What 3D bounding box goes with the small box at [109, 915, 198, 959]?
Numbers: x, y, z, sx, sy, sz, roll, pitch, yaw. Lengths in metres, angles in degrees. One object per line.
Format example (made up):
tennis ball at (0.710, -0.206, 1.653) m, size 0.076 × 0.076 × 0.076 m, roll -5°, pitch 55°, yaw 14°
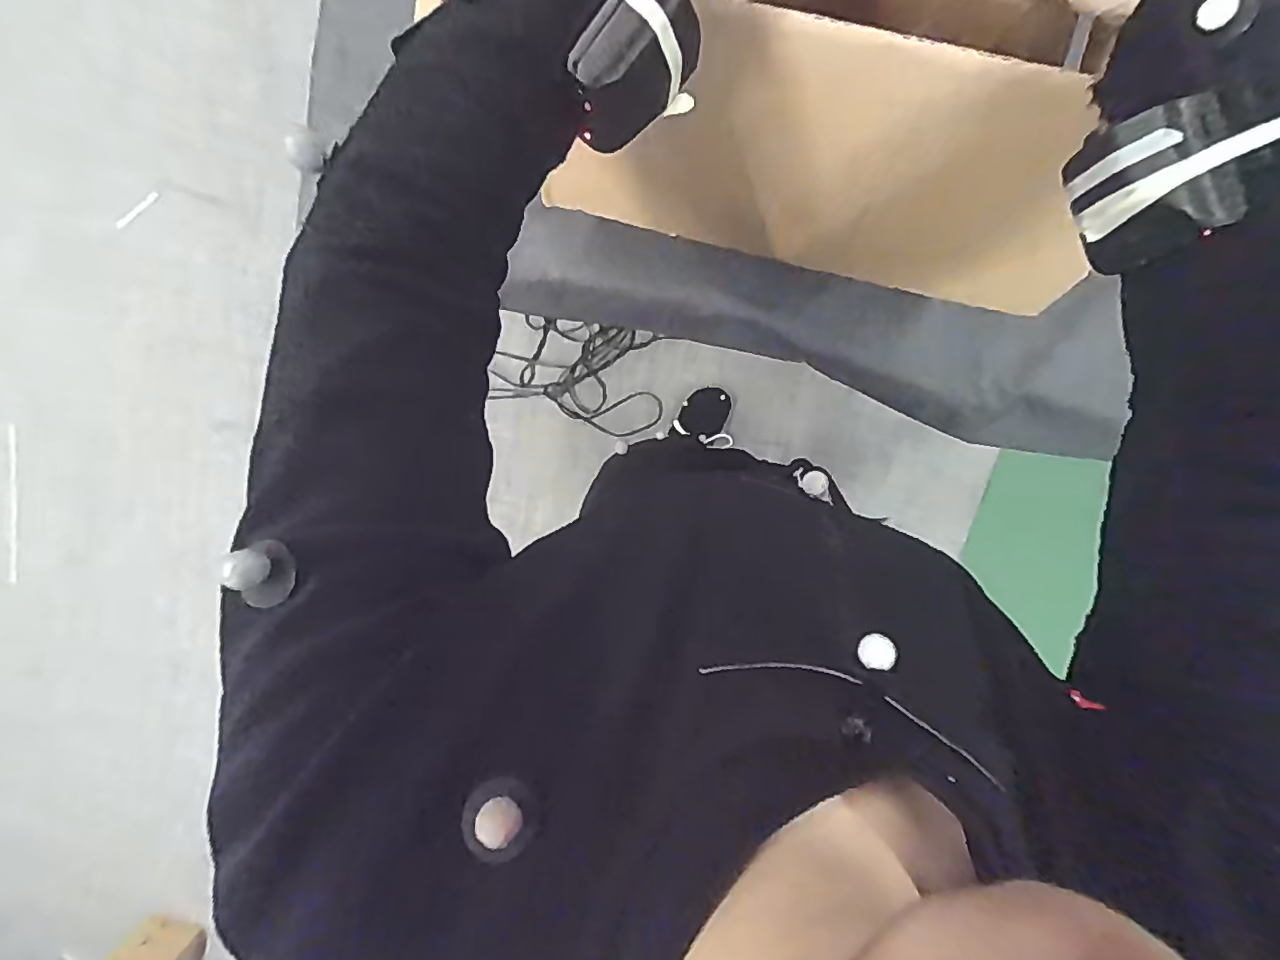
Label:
small box at (-1.518, 1.502, 1.666) m, size 0.168 × 0.176 × 0.179 m, roll 20°, pitch 102°, yaw 1°
